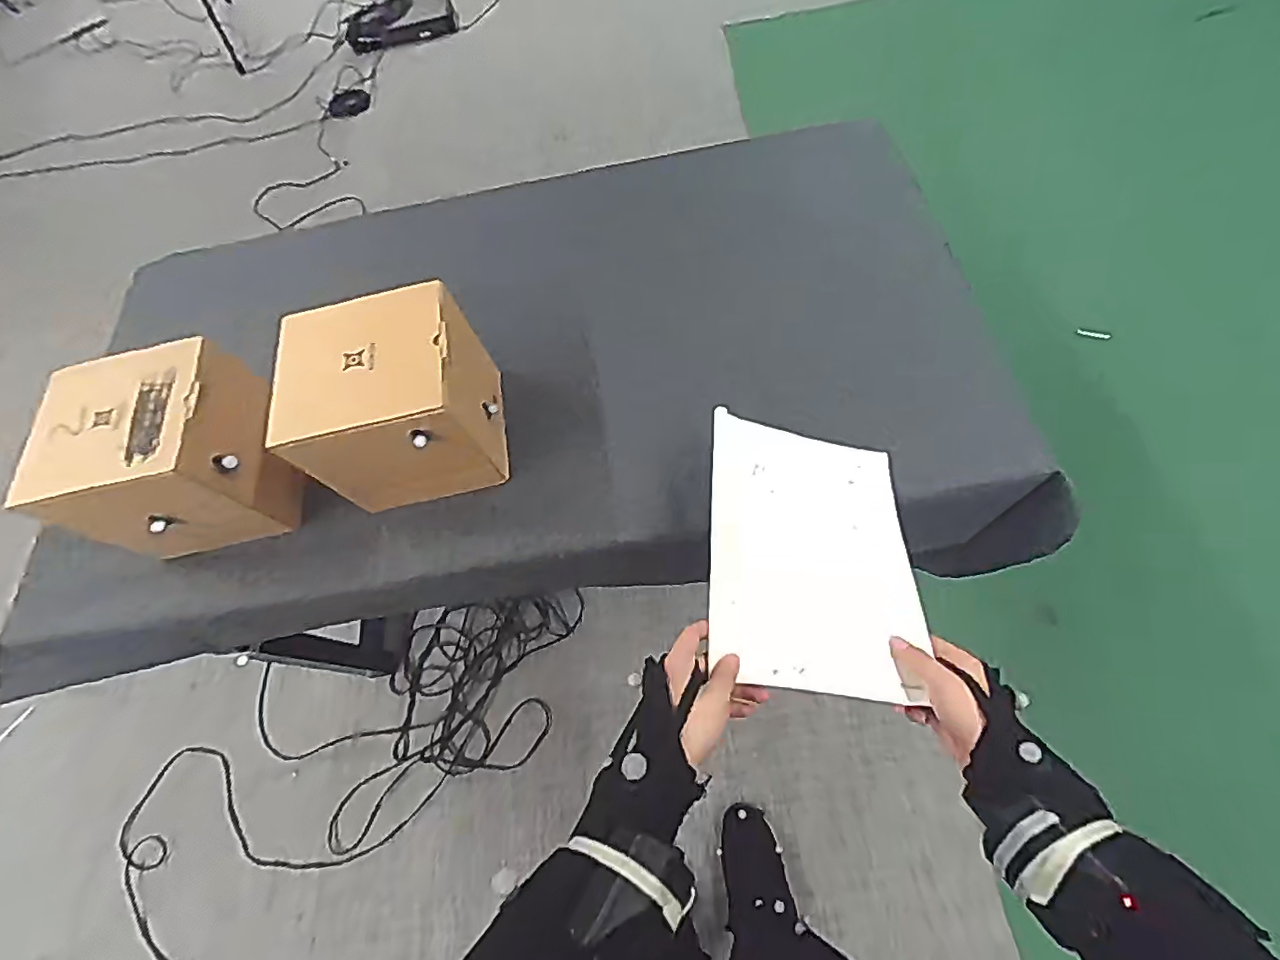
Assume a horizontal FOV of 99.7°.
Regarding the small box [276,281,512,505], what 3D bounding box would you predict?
[{"bbox_3d":[-0.261,-0.087,0.610,0.179,0.176,0.168,-13,64,2],"label":"small box"}]
